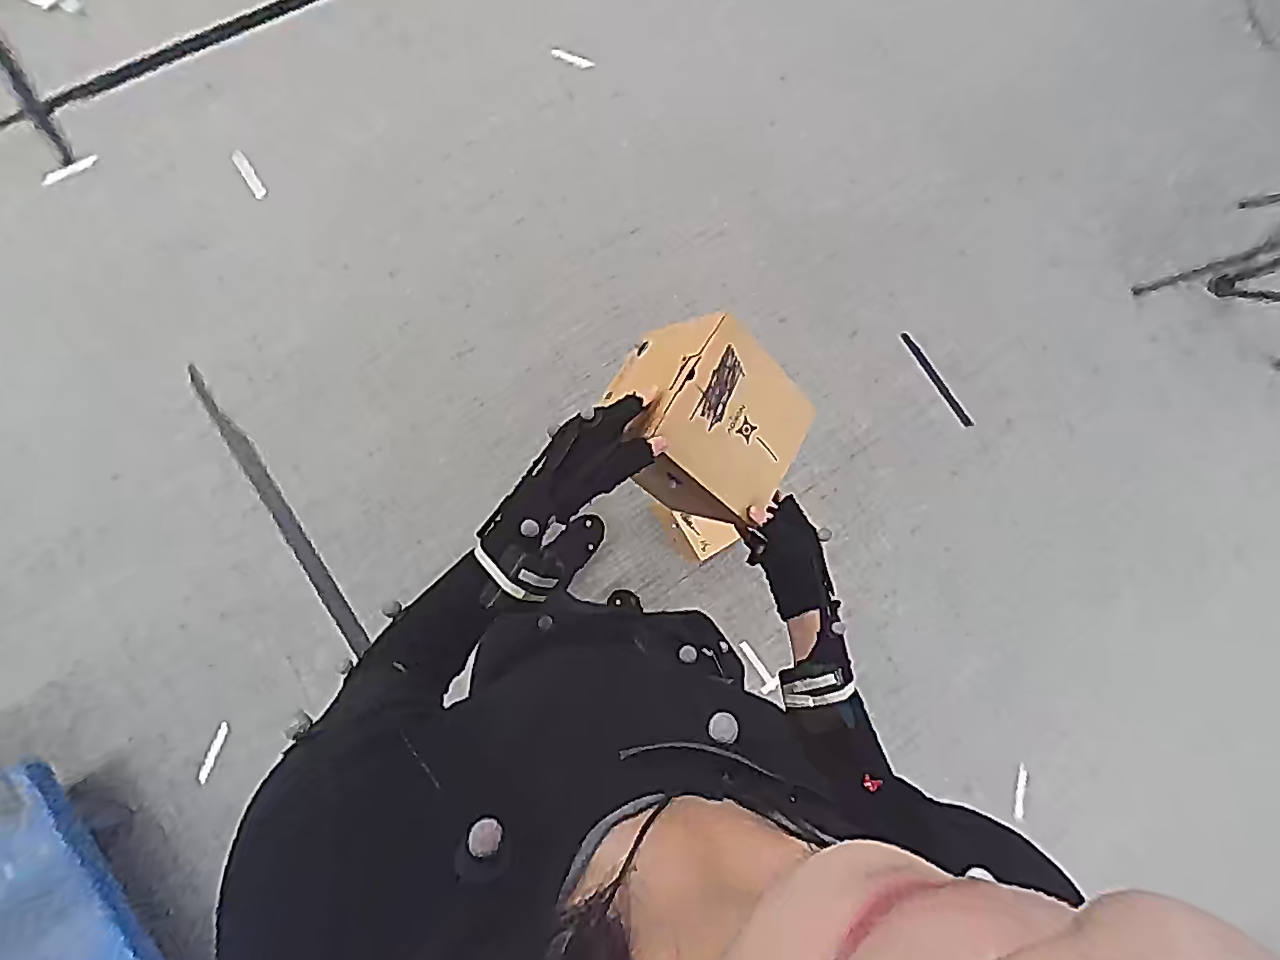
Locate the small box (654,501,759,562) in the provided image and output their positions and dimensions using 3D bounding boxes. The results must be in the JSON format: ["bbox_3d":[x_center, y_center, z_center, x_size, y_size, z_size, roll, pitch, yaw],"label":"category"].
[{"bbox_3d":[0.155,0.086,1.324,0.179,0.176,0.168,-29,87,-11],"label":"small box"}]

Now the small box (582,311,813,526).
[{"bbox_3d":[0.062,-0.067,0.639,0.179,0.176,0.168,38,76,-30],"label":"small box"}]
